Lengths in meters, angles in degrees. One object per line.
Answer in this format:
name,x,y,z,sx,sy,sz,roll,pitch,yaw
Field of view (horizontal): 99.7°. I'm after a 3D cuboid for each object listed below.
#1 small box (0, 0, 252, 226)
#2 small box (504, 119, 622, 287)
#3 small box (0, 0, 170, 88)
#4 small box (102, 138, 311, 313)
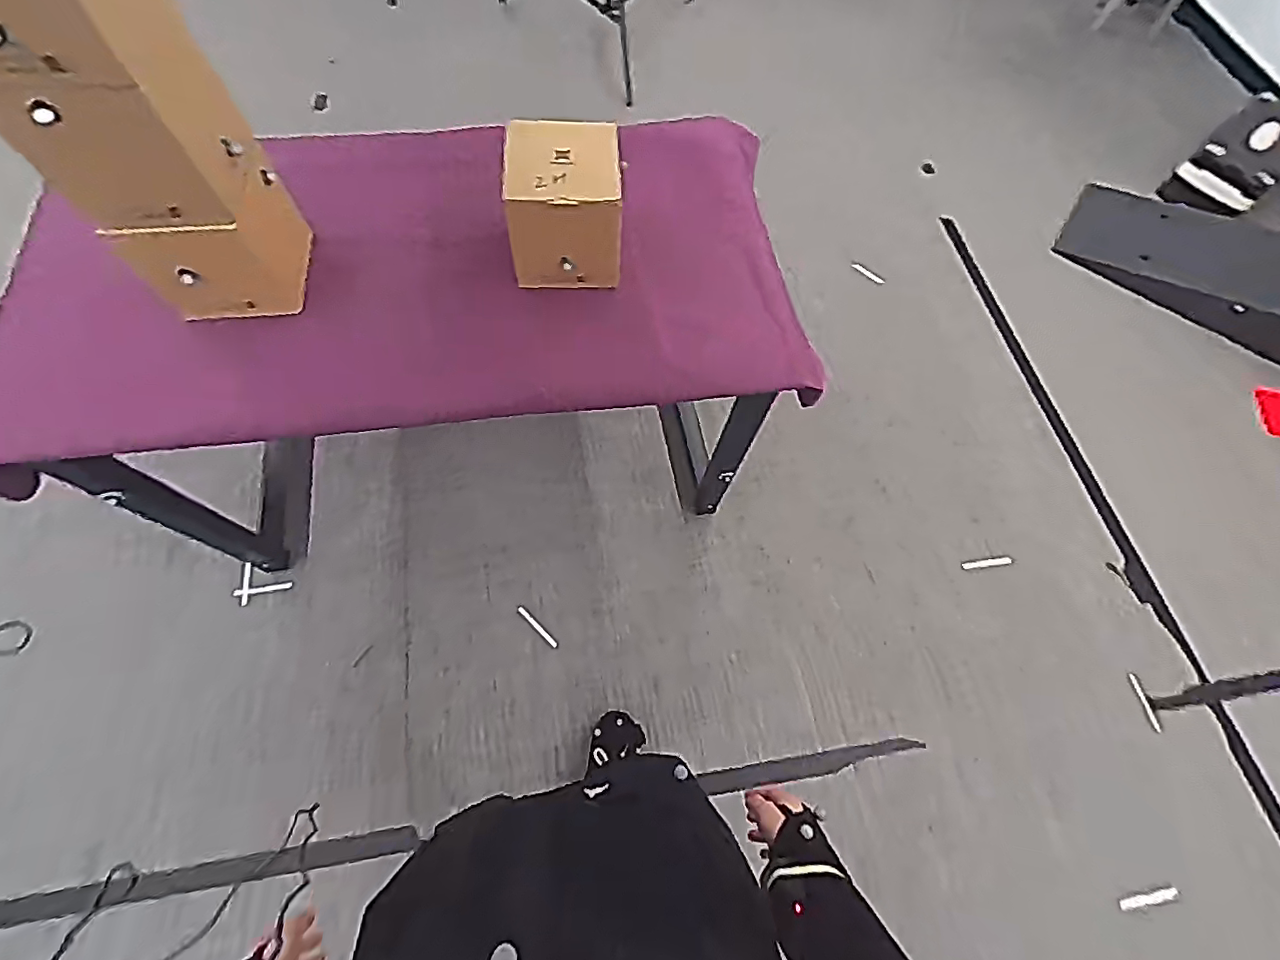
small box,-0.600,-0.433,0.643,0.168,0.176,0.179,-7,66,-7
small box,-0.117,-0.434,0.859,0.168,0.176,0.179,-2,66,-4
small box,-0.584,-0.499,0.493,0.168,0.176,0.179,-6,67,-7
small box,-0.611,-0.361,0.790,0.168,0.176,0.179,-6,66,-7
